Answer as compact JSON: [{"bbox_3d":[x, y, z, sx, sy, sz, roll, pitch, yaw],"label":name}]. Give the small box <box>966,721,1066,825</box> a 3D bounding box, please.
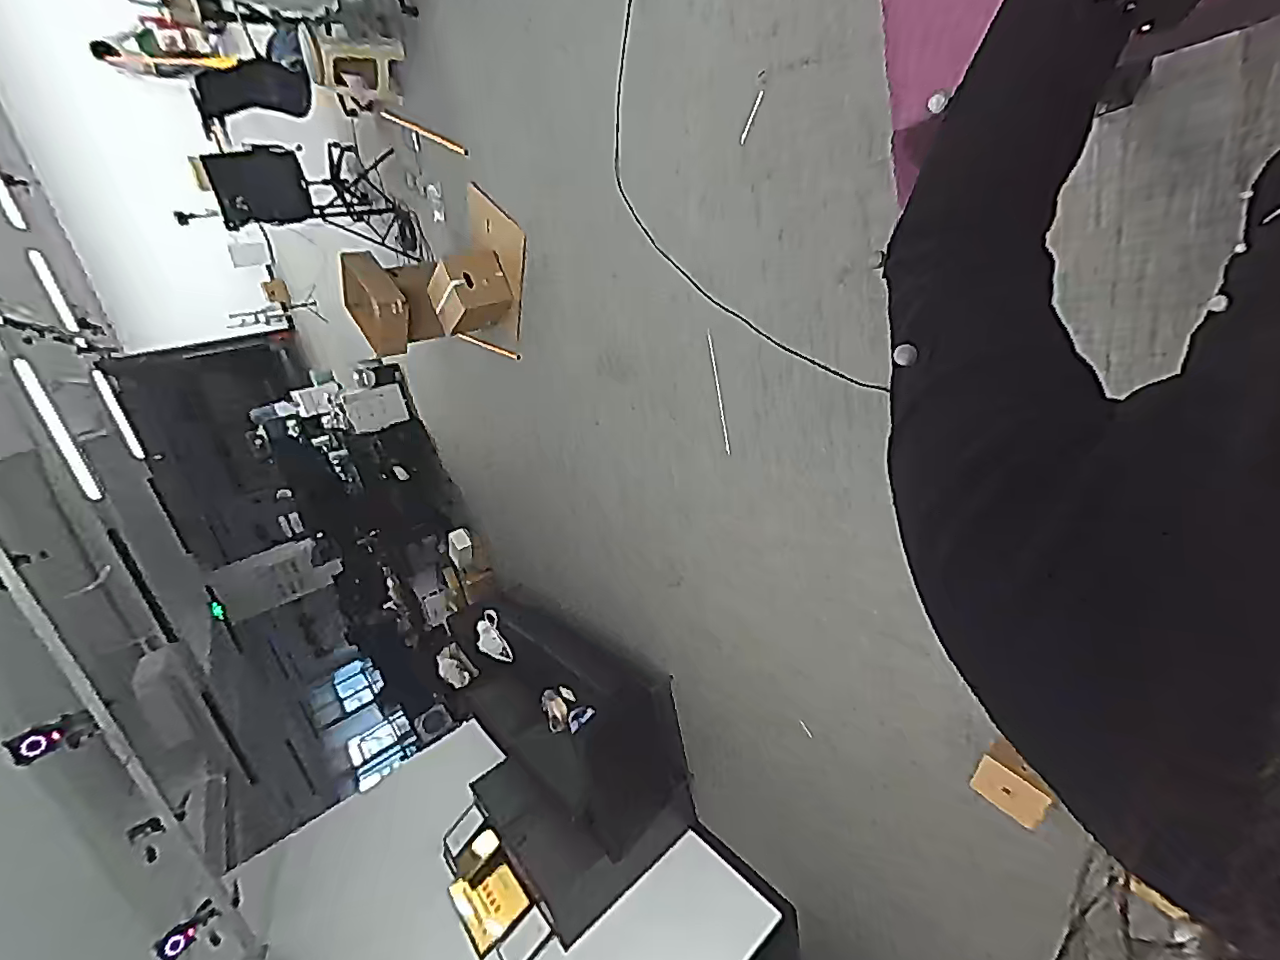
[{"bbox_3d":[1.124,0.867,1.615,0.179,0.176,0.168,33,135,42],"label":"small box"}]
